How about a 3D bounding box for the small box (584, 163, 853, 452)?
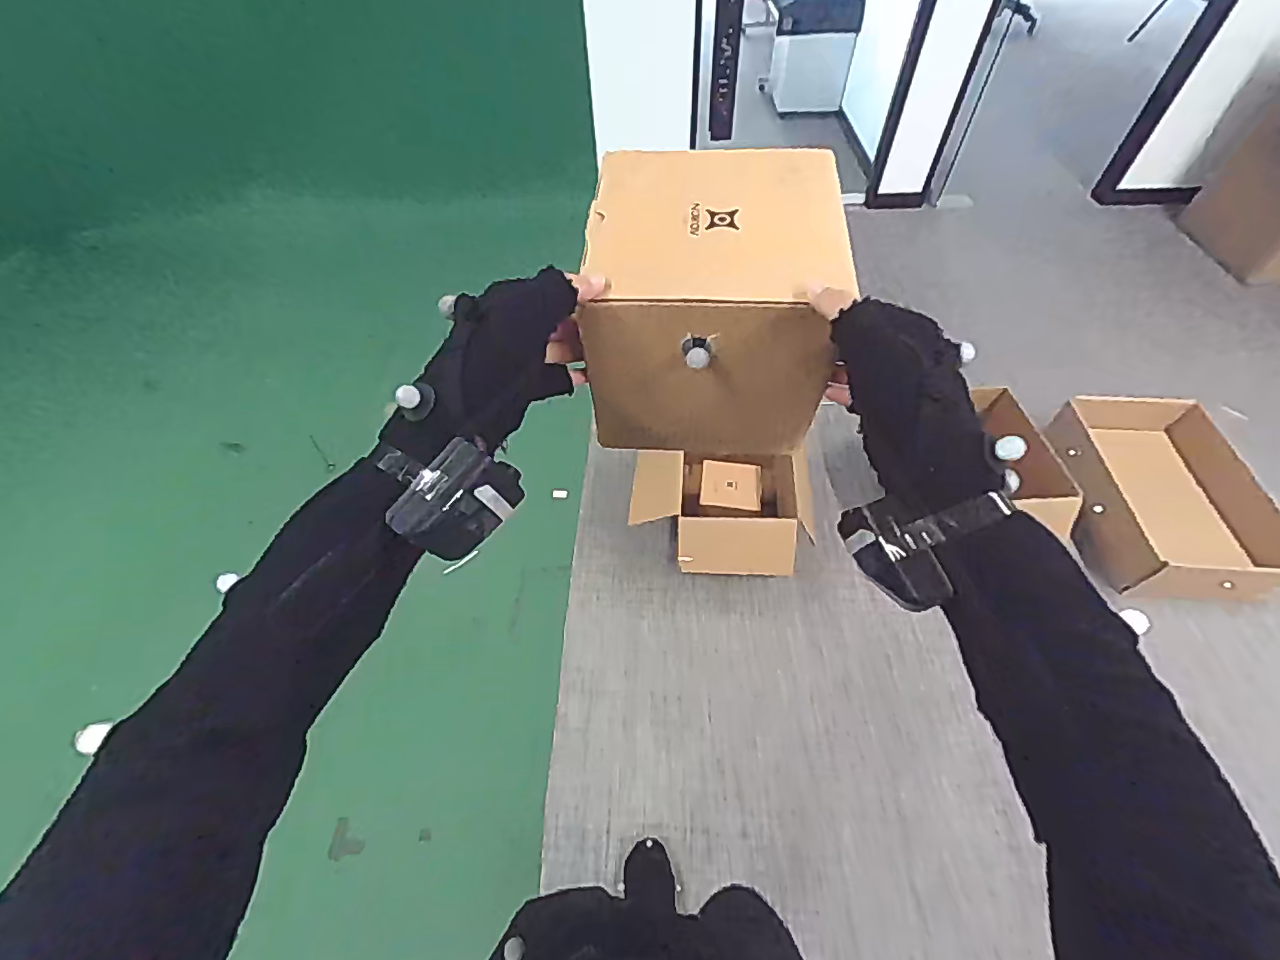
[{"bbox_3d":[0.058,-0.136,0.456,0.179,0.176,0.168,2,59,4],"label":"small box"}]
